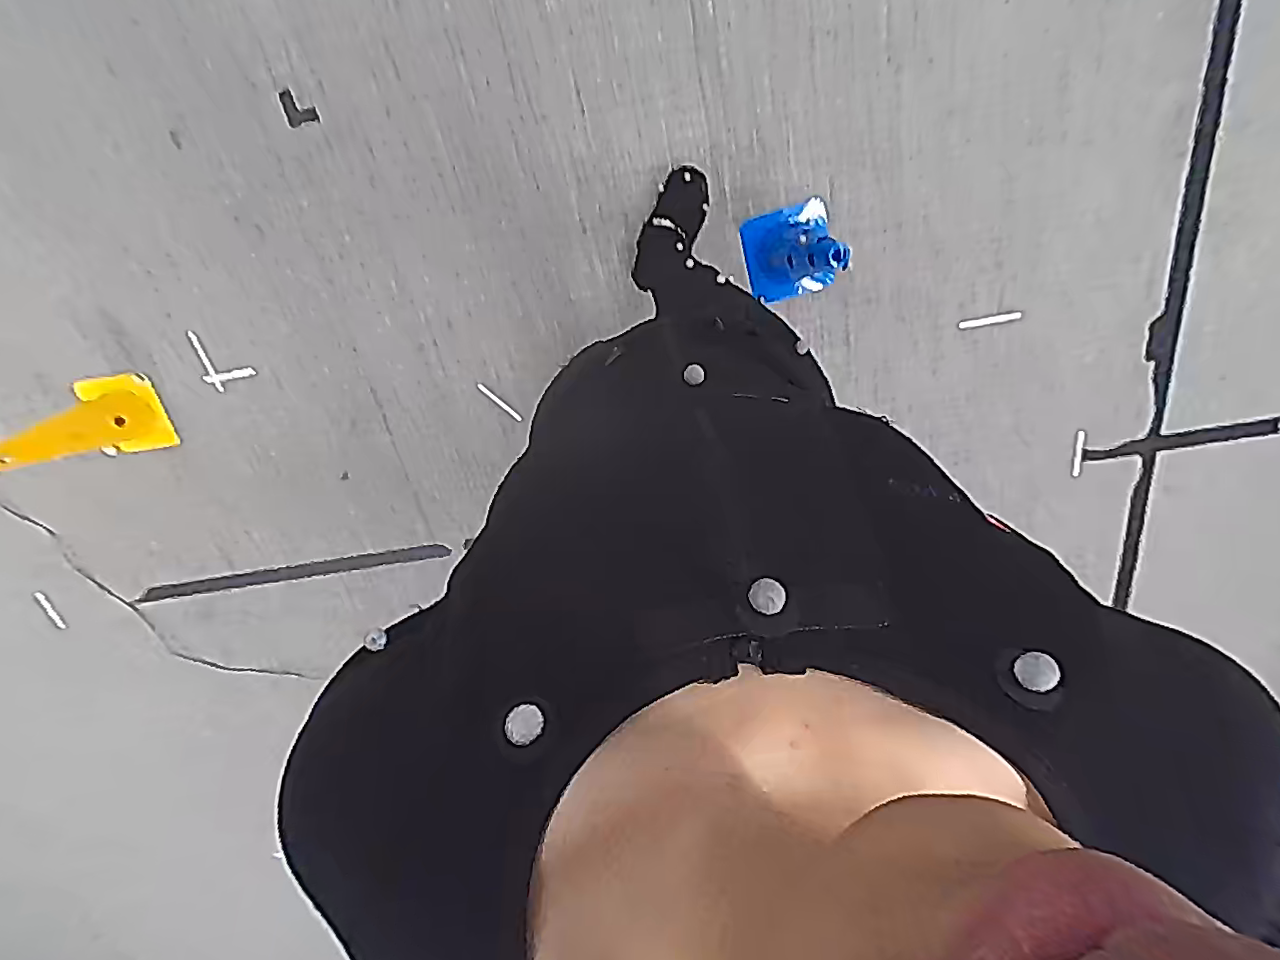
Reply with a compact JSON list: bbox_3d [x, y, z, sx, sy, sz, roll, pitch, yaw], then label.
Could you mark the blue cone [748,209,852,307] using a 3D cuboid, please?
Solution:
[{"bbox_3d":[0.358,-0.462,1.132,0.193,0.380,0.192,-14,113,6],"label":"blue cone"}]
